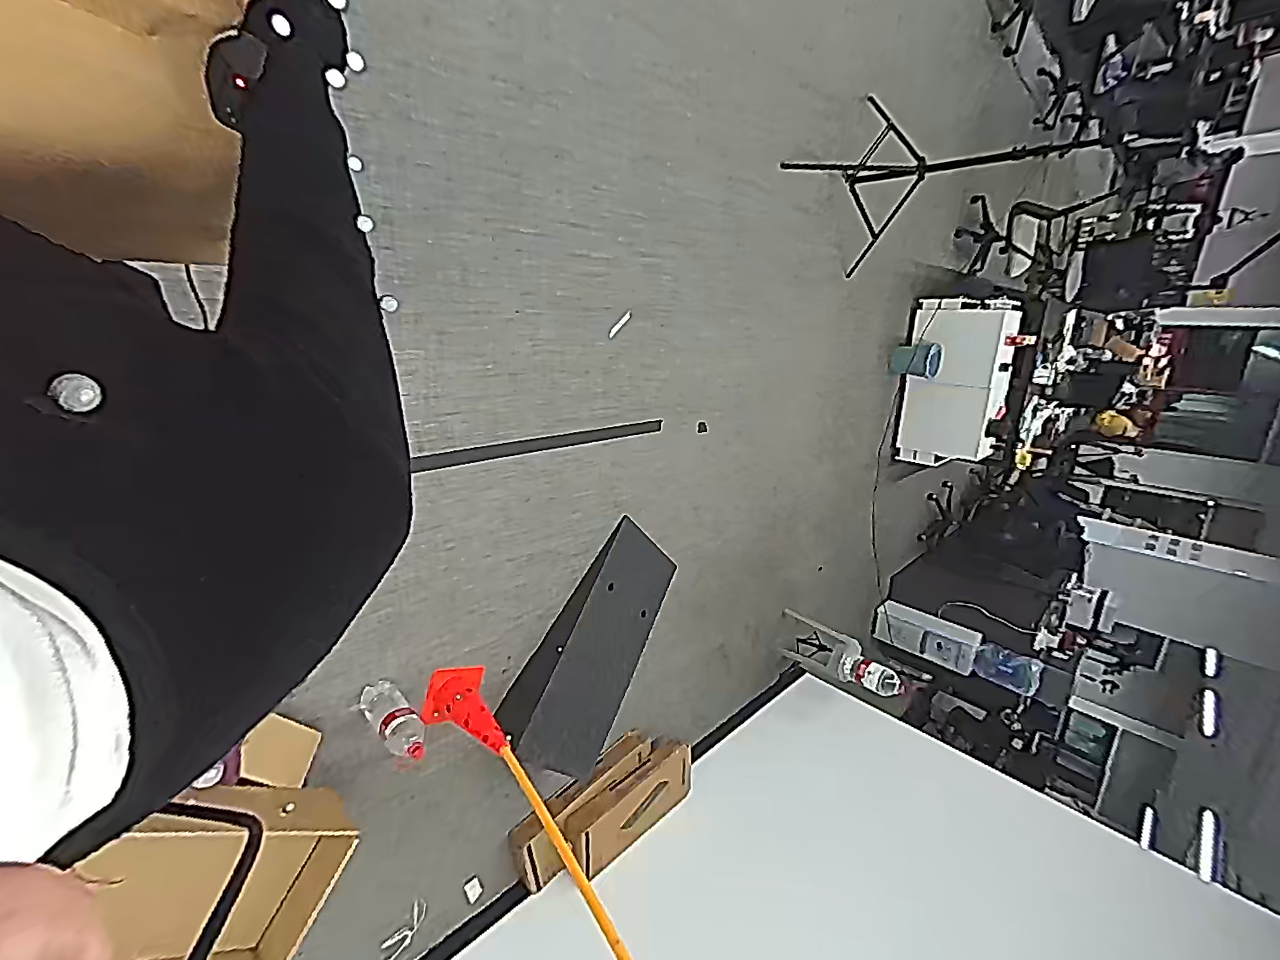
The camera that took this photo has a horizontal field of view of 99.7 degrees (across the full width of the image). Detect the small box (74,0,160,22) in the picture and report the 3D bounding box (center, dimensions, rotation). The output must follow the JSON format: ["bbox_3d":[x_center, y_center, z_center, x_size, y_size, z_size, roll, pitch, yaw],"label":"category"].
[{"bbox_3d":[-0.410,-0.447,0.339,0.179,0.176,0.168,1,100,-45],"label":"small box"}]
